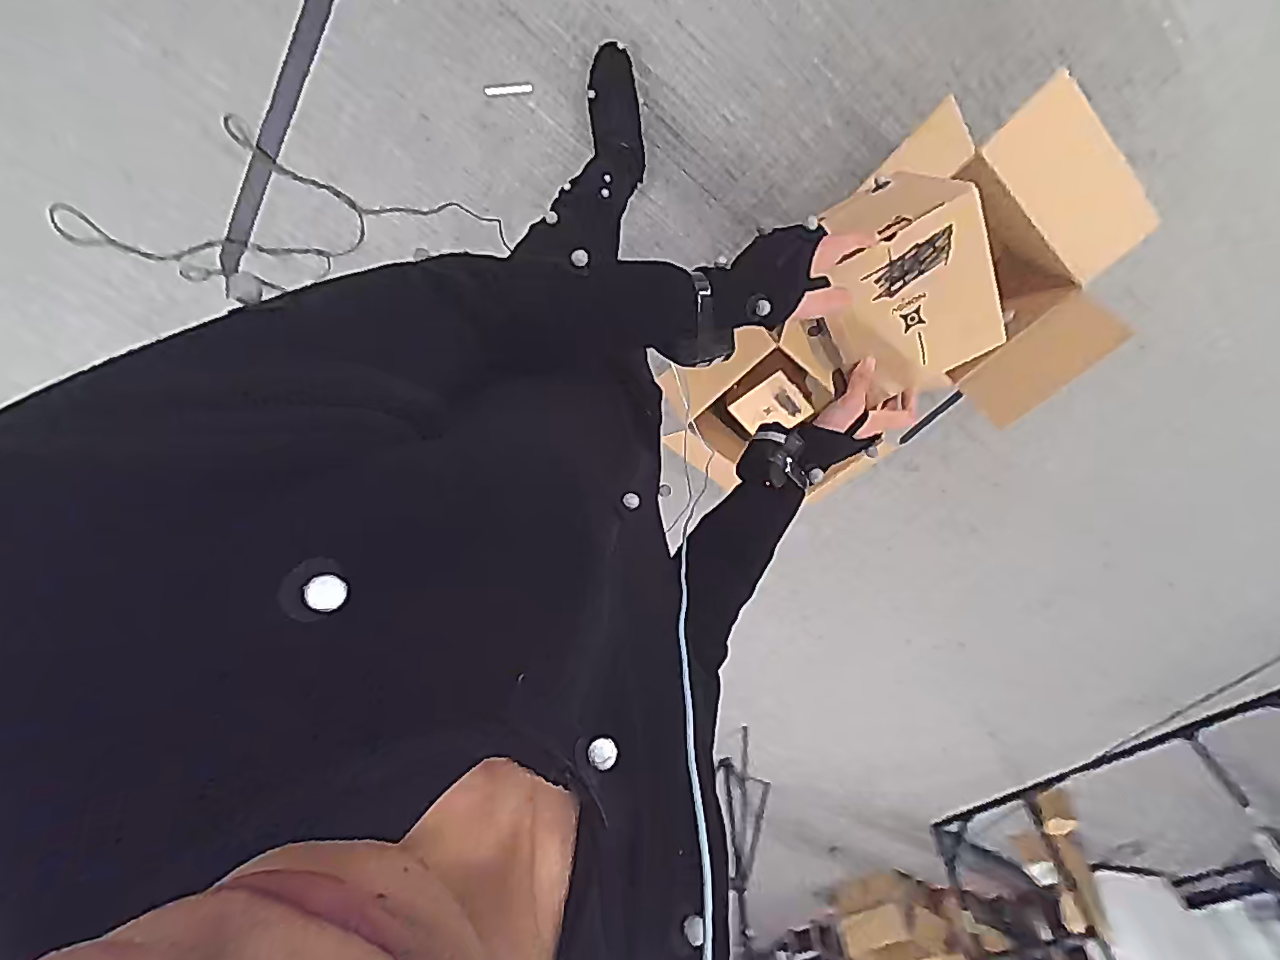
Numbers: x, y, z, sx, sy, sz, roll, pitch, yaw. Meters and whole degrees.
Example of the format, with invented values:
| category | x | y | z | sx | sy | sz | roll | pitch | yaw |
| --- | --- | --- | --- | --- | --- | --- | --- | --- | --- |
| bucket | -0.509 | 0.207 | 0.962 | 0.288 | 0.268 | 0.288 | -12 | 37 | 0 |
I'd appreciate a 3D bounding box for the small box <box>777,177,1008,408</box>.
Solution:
| category | x | y | z | sx | sy | sz | roll | pitch | yaw |
| --- | --- | --- | --- | --- | --- | --- | --- | --- | --- |
| small box | 0.275 | -0.220 | 0.616 | 0.168 | 0.176 | 0.179 | -26 | 123 | 14 |
